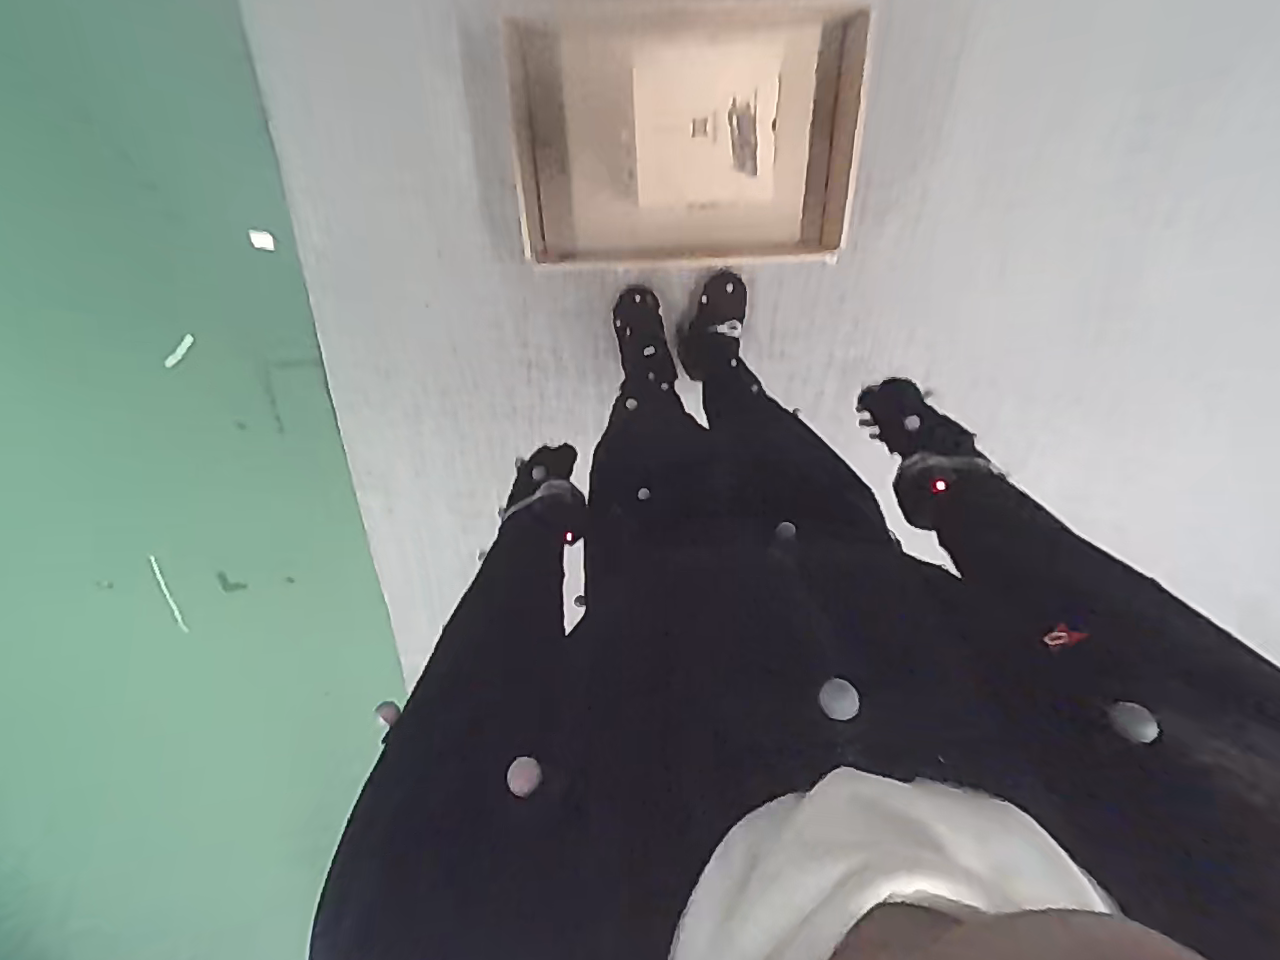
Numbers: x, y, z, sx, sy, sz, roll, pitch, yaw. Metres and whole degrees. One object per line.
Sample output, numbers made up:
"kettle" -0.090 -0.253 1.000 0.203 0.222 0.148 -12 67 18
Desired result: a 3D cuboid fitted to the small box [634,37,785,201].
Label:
"small box" 0.083 -0.476 0.729 0.179 0.176 0.168 -2 119 1
